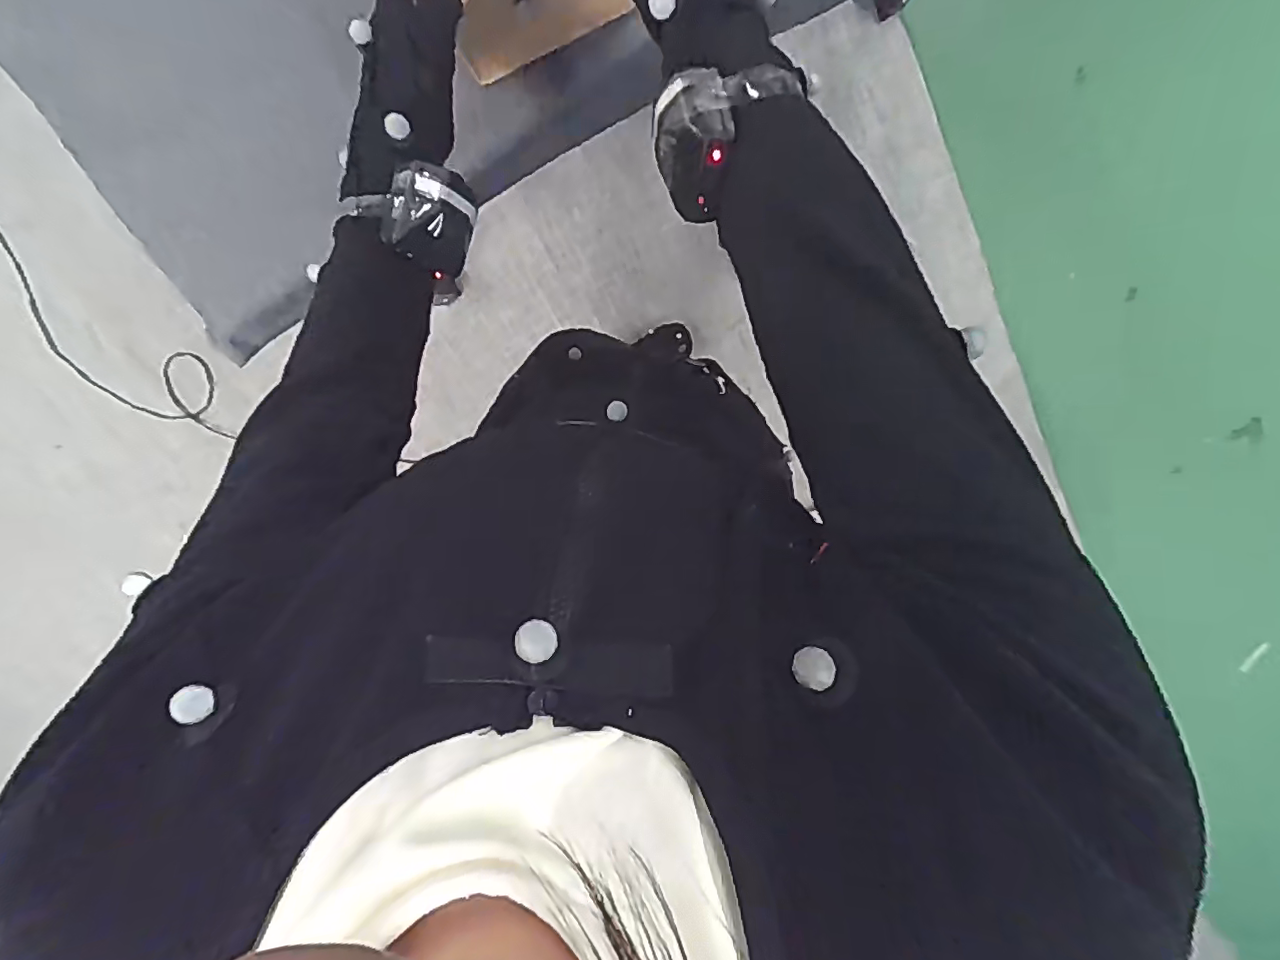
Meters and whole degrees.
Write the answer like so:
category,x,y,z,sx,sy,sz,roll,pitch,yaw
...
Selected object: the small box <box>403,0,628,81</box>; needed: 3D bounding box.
category,x,y,z,sx,sy,sz,roll,pitch,yaw
small box,-0.116,-0.474,0.439,0.179,0.176,0.168,-20,105,10
